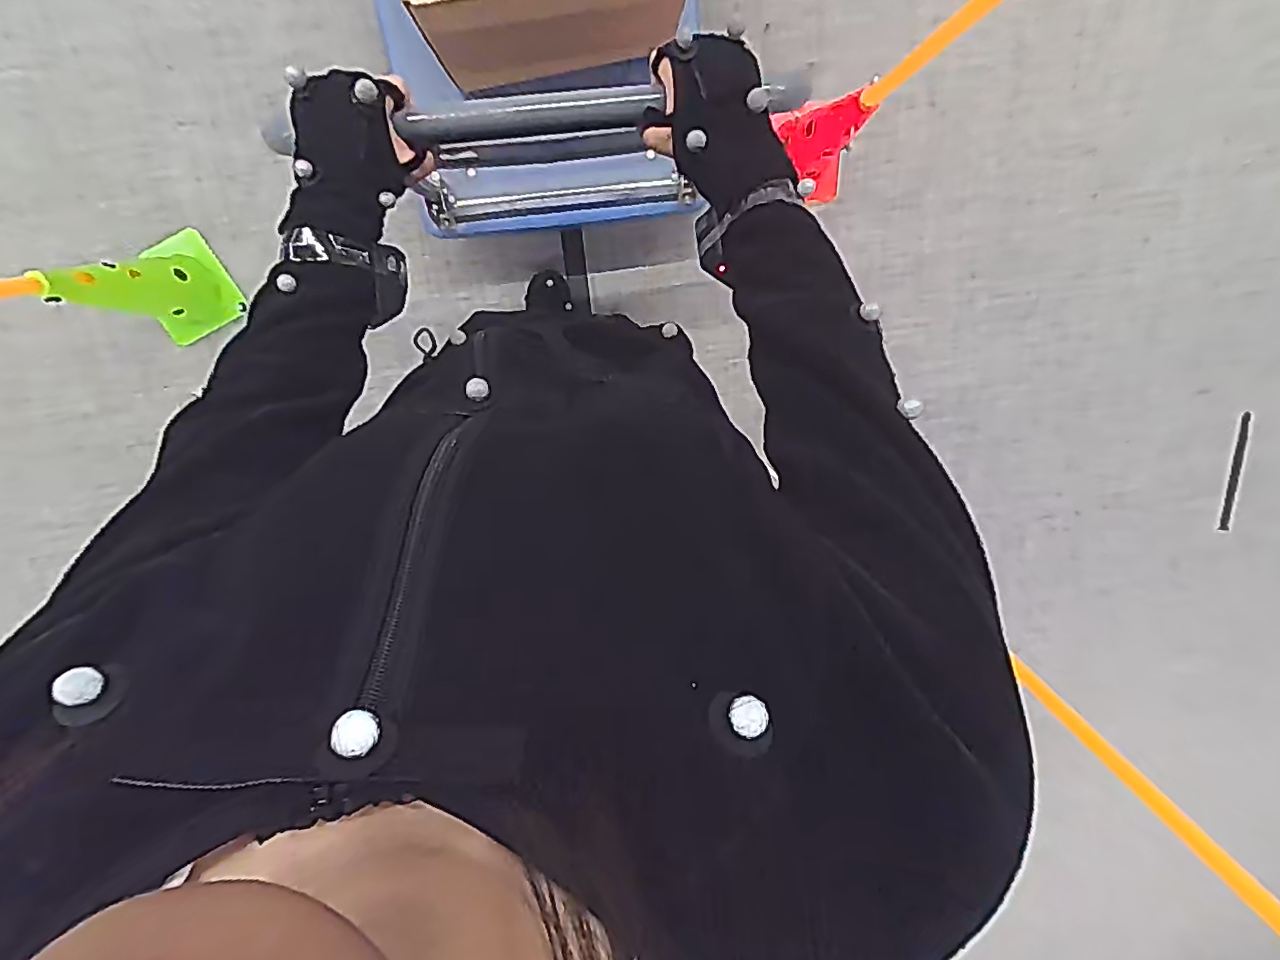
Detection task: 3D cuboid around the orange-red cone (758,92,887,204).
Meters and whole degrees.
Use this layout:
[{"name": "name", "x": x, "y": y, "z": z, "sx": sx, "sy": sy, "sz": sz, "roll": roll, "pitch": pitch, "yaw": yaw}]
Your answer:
[{"name": "orange-red cone", "x": 0.387, "y": -0.689, "z": 1.074, "sx": 0.199, "sy": 0.360, "sz": 0.198, "roll": -1, "pitch": 109, "yaw": -5}]
